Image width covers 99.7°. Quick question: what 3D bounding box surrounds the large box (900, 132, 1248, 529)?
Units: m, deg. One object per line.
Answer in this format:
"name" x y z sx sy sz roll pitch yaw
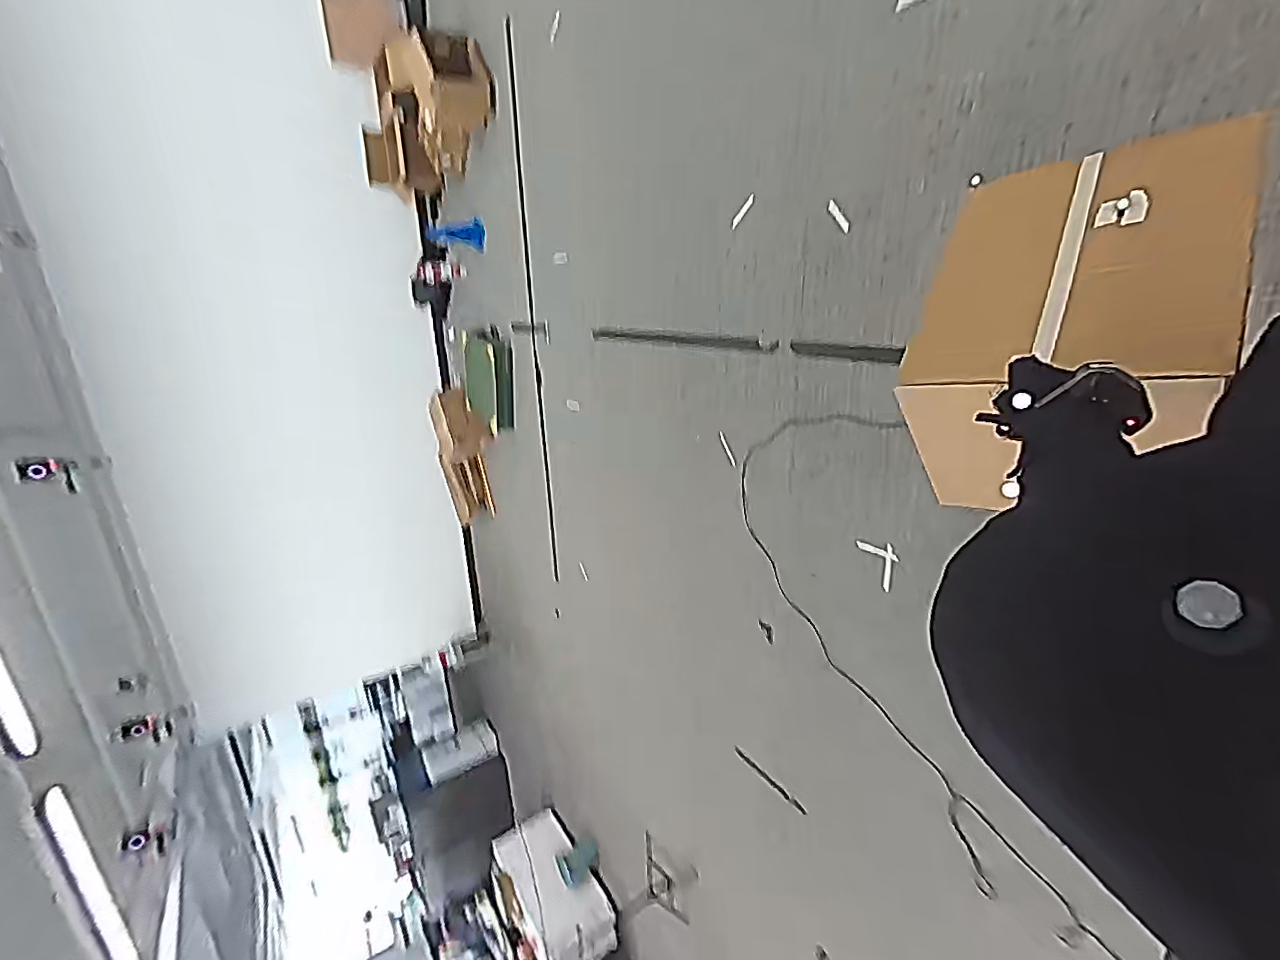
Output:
"large box" 0.628 -0.185 0.782 0.320 0.408 0.320 7 151 46
